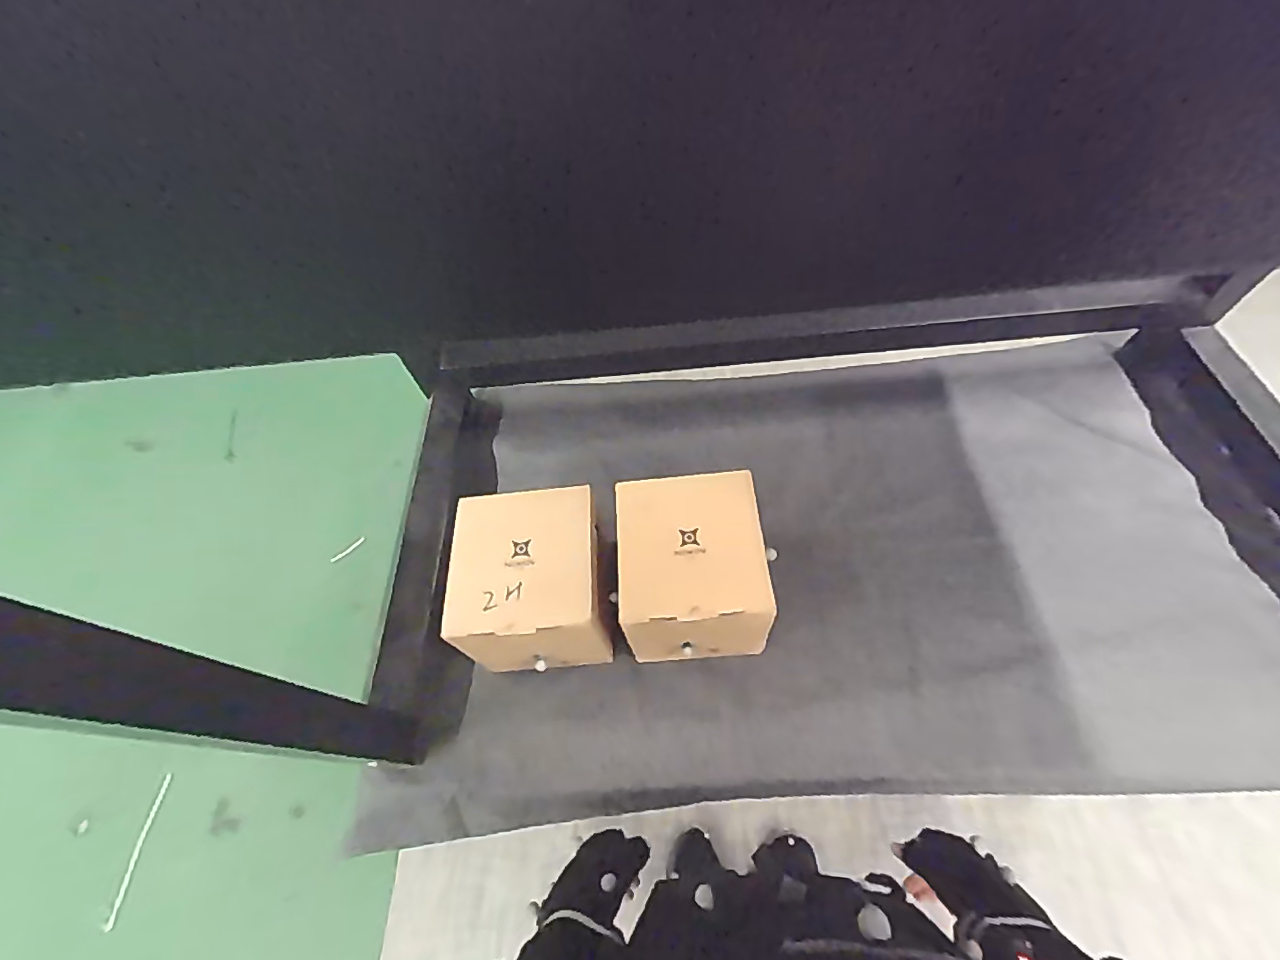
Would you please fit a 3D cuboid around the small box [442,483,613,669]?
[{"bbox_3d":[-0.127,0.126,0.684,0.168,0.176,0.179,-6,58,4],"label":"small box"}]
